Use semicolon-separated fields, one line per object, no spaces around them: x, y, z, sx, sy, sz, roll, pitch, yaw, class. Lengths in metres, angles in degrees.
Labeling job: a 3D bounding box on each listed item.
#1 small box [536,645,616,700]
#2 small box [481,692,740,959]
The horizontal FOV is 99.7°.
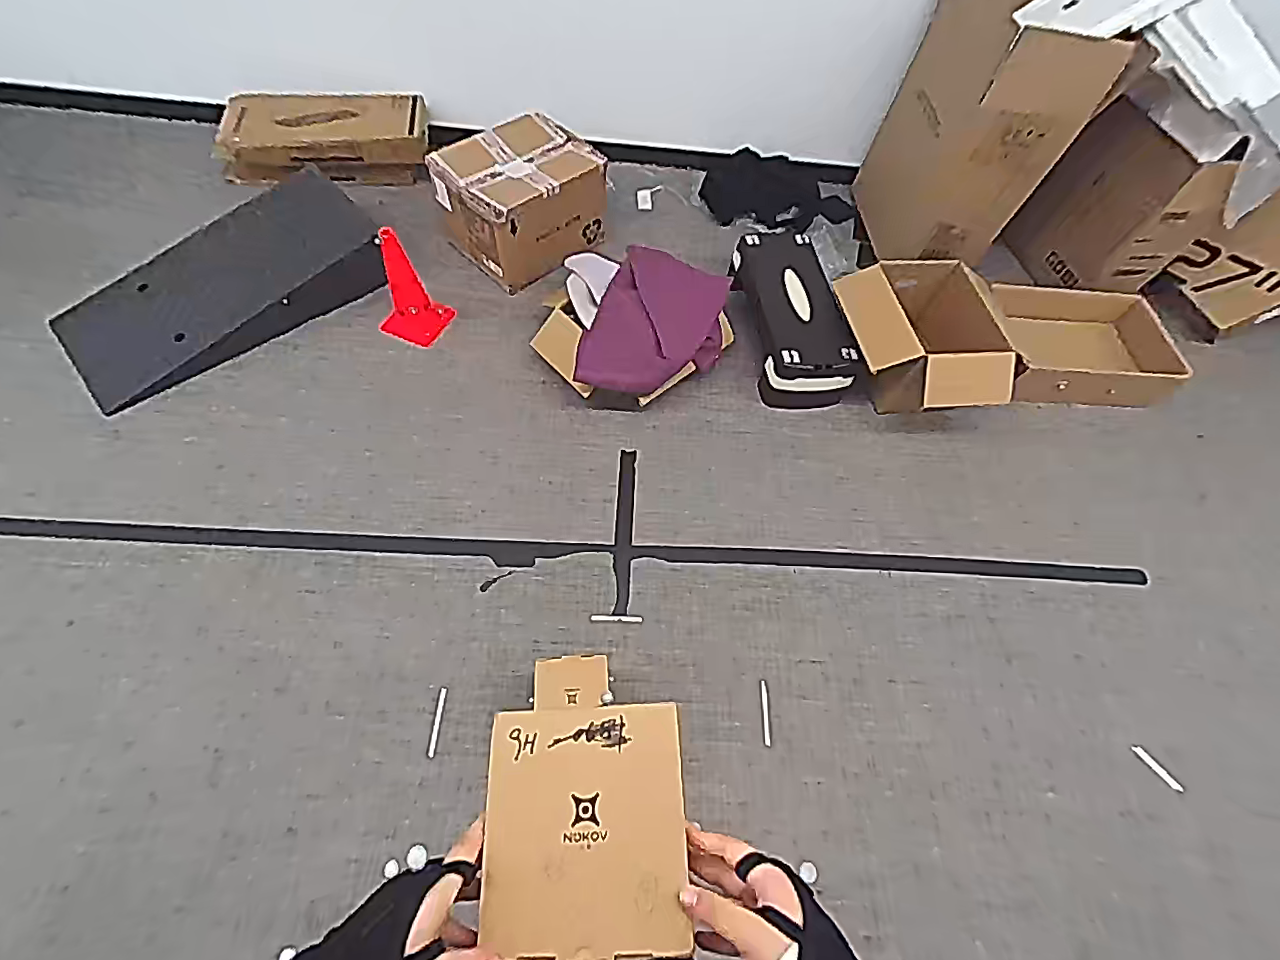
-0.140;0.470;1.181;0.168;0.176;0.179;-3;63;-6;small box
-0.015;0.274;0.434;0.168;0.176;0.179;-4;63;2;small box
